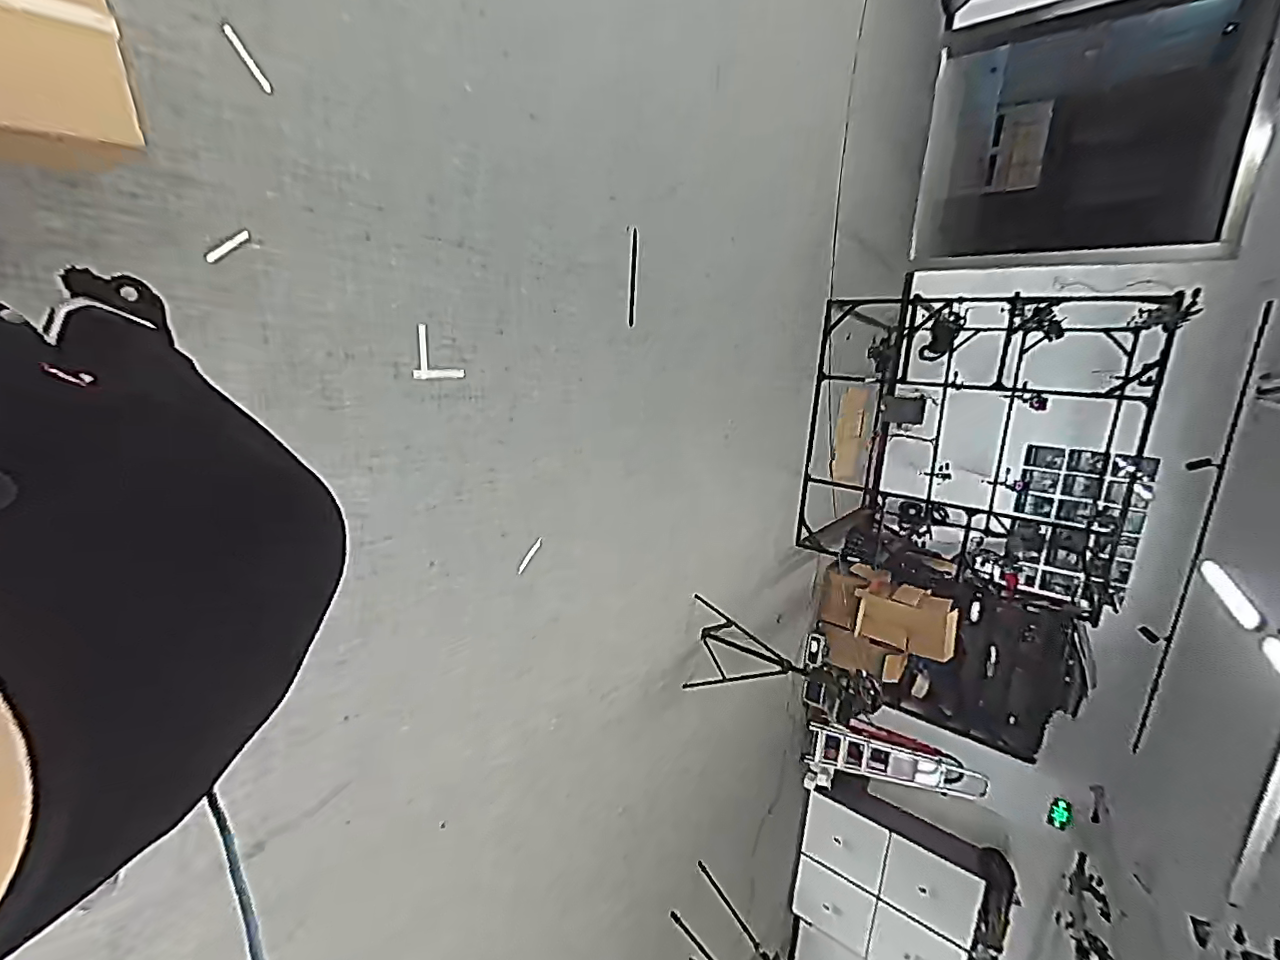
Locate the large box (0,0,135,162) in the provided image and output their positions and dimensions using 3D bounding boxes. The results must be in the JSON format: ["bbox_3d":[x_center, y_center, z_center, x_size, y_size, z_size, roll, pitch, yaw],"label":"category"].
[{"bbox_3d":[-1.037,-0.655,0.744,0.408,0.320,0.320,-24,120,-48],"label":"large box"}]
